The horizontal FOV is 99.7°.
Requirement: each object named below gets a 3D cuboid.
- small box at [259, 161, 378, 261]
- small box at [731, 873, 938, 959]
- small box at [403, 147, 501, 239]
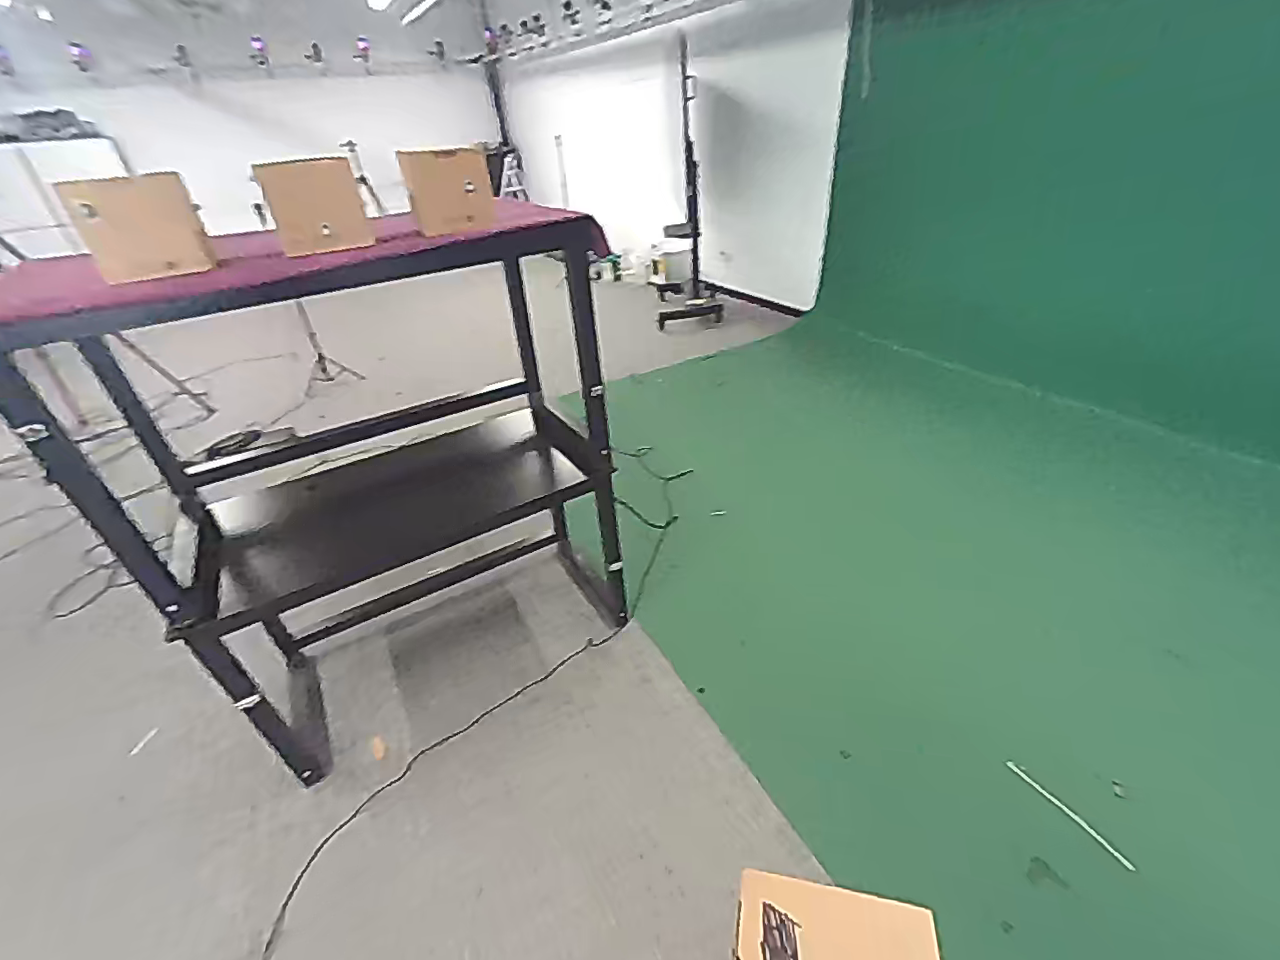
[{"bbox_3d":[-0.675,-0.575,1.149,0.179,0.176,0.168,-20,35,-23],"label":"small box"},{"bbox_3d":[0.169,0.505,0.482,0.179,0.176,0.168,3,26,17],"label":"small box"},{"bbox_3d":[-0.435,-0.667,1.259,0.168,0.176,0.179,-18,36,-20],"label":"small box"}]
